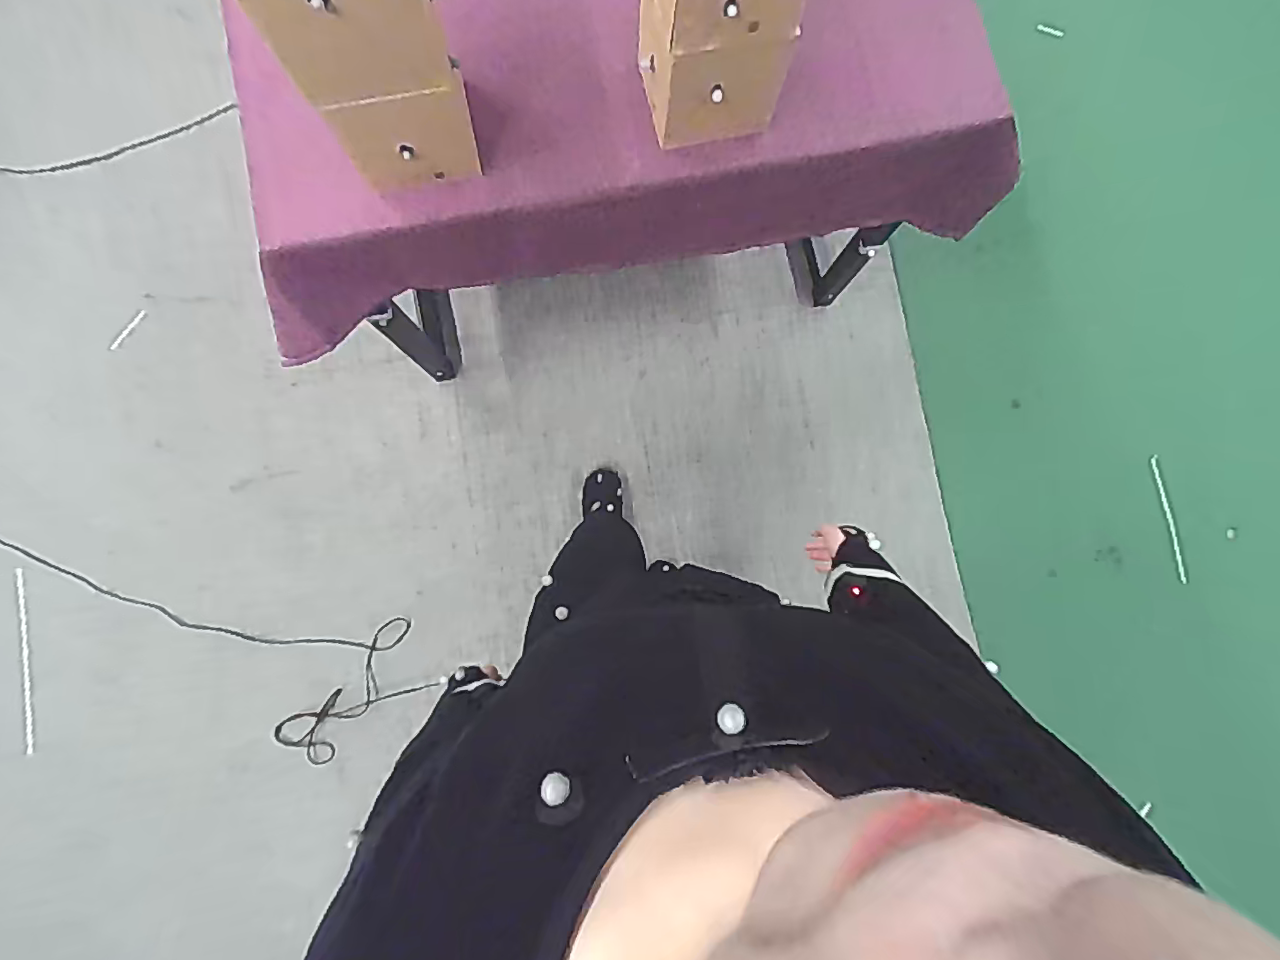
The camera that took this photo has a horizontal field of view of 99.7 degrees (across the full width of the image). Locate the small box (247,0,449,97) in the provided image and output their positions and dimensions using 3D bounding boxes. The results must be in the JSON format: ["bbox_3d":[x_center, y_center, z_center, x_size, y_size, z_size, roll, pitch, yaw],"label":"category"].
[{"bbox_3d":[-0.332,-0.562,0.592,0.179,0.176,0.168,-12,84,-4],"label":"small box"}]

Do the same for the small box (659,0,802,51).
[{"bbox_3d":[0.104,-0.650,0.621,0.168,0.176,0.179,-11,84,-4],"label":"small box"}]

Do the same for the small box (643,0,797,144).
[{"bbox_3d":[0.102,-0.625,0.782,0.179,0.176,0.168,-13,84,-3],"label":"small box"}]

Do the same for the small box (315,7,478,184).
[{"bbox_3d":[-0.337,-0.543,0.755,0.168,0.176,0.179,-11,83,-4],"label":"small box"}]
